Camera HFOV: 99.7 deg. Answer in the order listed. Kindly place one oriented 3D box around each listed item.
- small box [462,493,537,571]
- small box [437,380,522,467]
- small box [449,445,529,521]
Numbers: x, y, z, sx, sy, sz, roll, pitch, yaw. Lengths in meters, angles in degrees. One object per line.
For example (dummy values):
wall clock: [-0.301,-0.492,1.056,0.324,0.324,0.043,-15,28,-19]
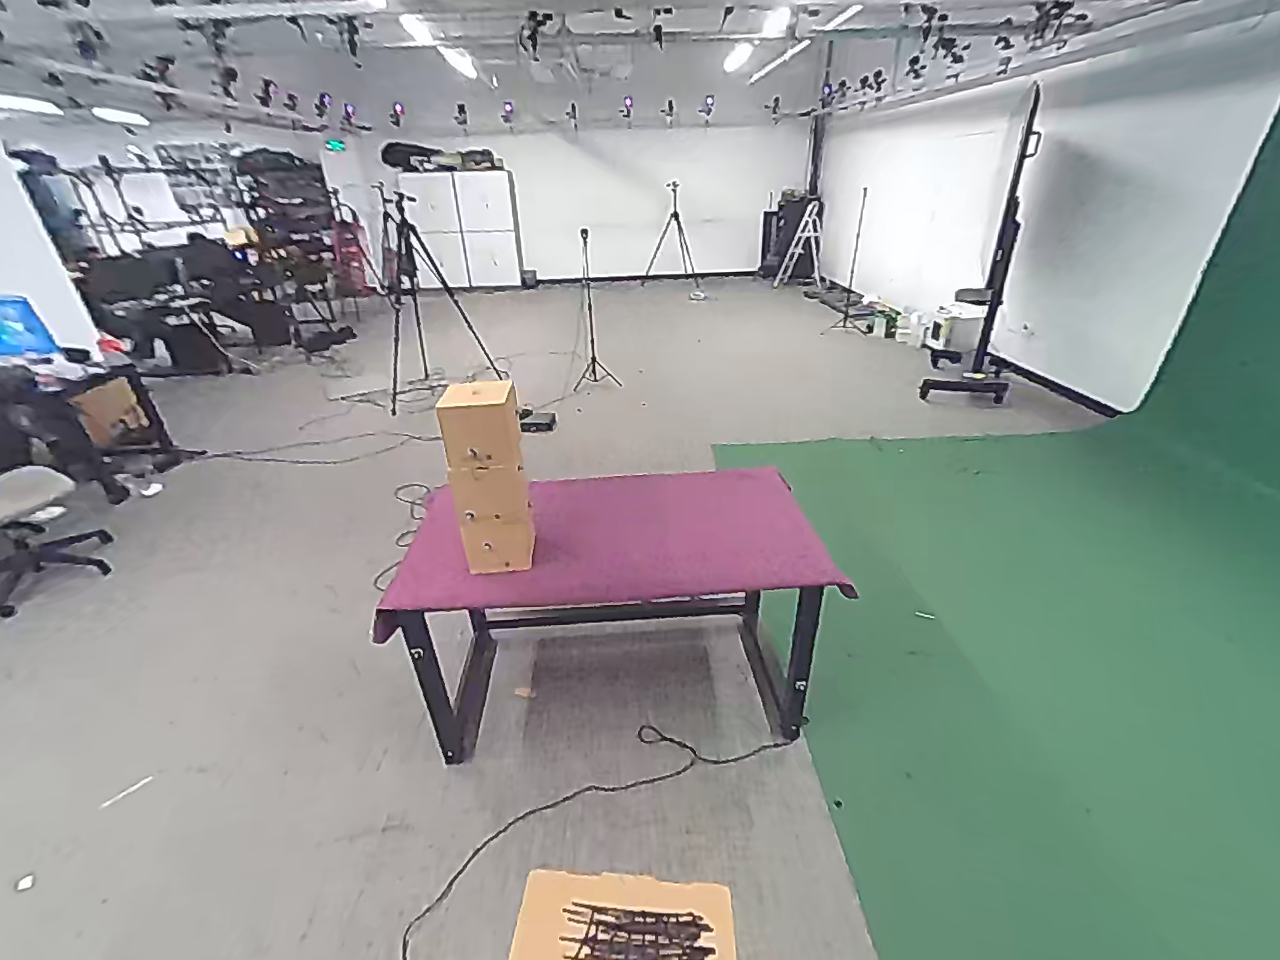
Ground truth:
small box: [-0.390,0.144,1.531,0.168,0.176,0.179,-5,29,-4]
small box: [-0.399,-0.146,1.379,0.168,0.176,0.179,-4,29,-3]
small box: [-0.395,0.001,1.450,0.168,0.176,0.179,-4,28,-3]
